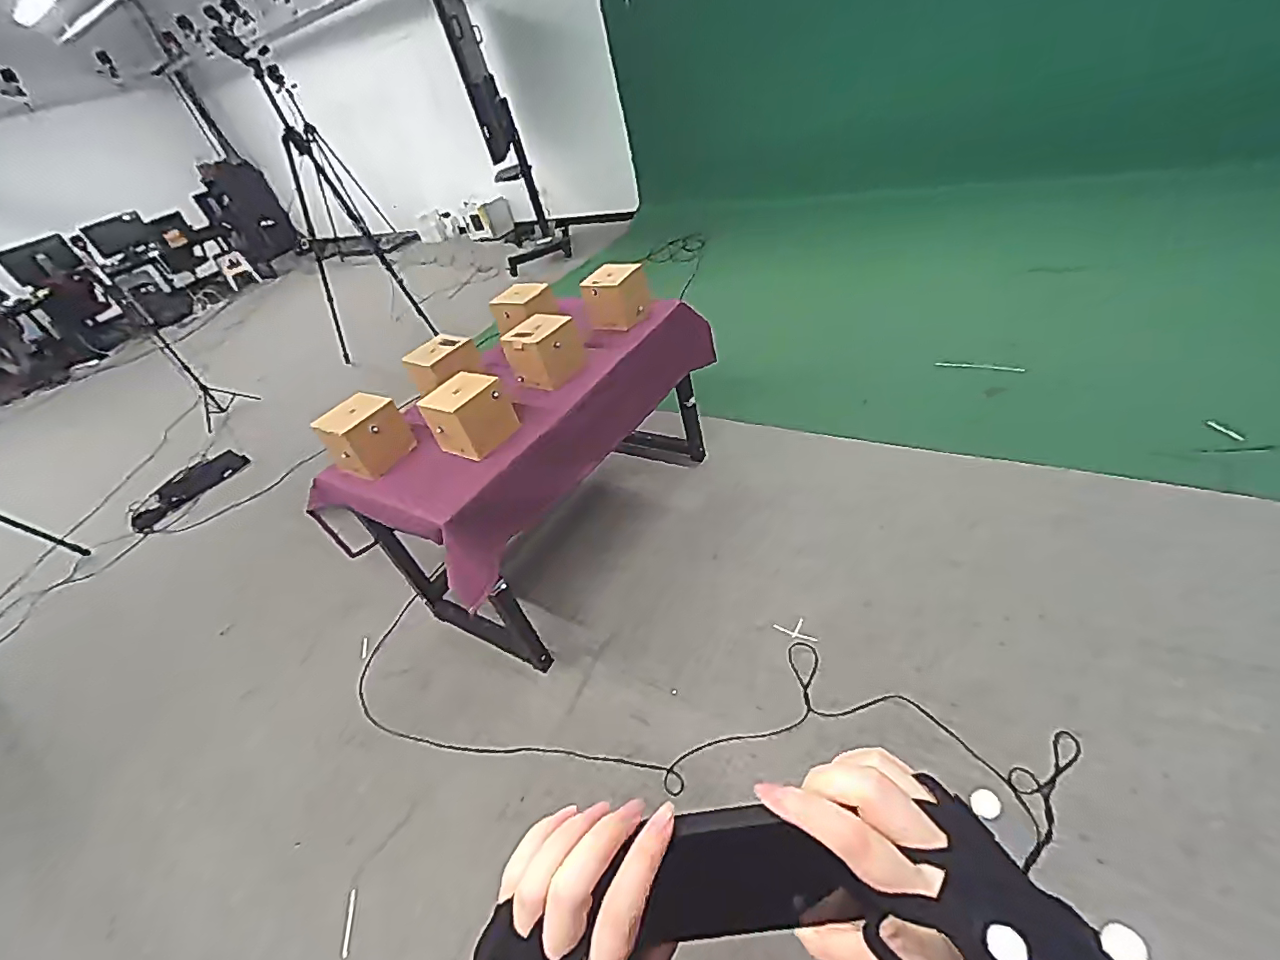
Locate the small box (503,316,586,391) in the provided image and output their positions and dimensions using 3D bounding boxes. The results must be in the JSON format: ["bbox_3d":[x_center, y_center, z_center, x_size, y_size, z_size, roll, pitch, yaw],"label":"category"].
[{"bbox_3d":[-0.298,-0.403,1.723,0.168,0.176,0.179,16,48,34],"label":"small box"}]

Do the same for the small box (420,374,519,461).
[{"bbox_3d":[-0.470,-0.175,1.516,0.168,0.176,0.179,14,47,33],"label":"small box"}]

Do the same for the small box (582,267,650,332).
[{"bbox_3d":[-0.077,-0.647,1.933,0.168,0.176,0.179,12,47,32],"label":"small box"}]

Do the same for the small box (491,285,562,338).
[{"bbox_3d":[-0.413,-0.606,2.005,0.179,0.176,0.168,12,47,30],"label":"small box"}]
